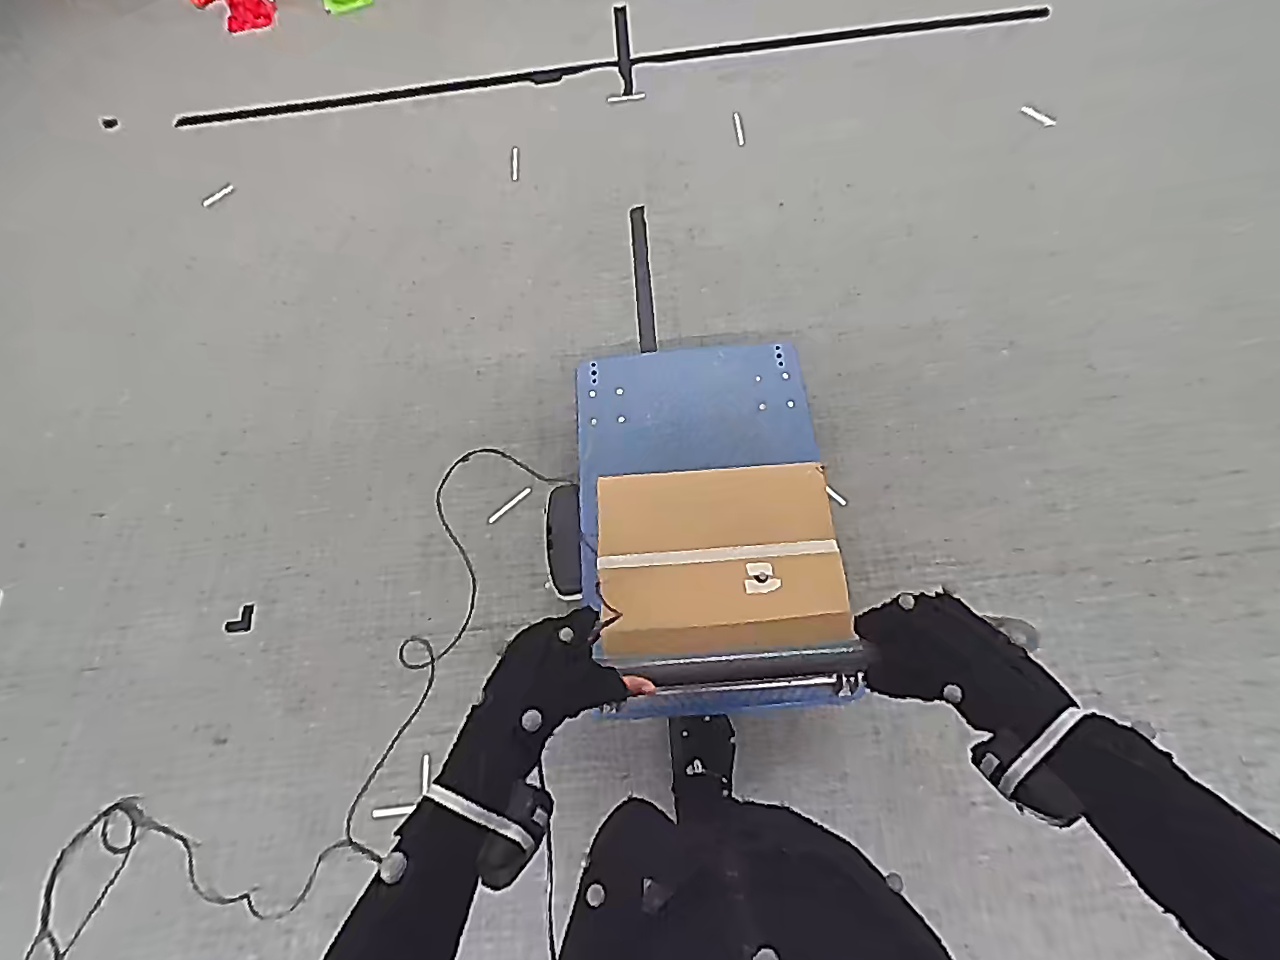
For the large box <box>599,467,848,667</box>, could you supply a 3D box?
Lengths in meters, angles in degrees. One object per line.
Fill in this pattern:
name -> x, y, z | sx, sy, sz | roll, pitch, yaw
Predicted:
large box -> 0.138, 0.189, 1.076 | 0.408, 0.320, 0.320 | -4, 69, 1
